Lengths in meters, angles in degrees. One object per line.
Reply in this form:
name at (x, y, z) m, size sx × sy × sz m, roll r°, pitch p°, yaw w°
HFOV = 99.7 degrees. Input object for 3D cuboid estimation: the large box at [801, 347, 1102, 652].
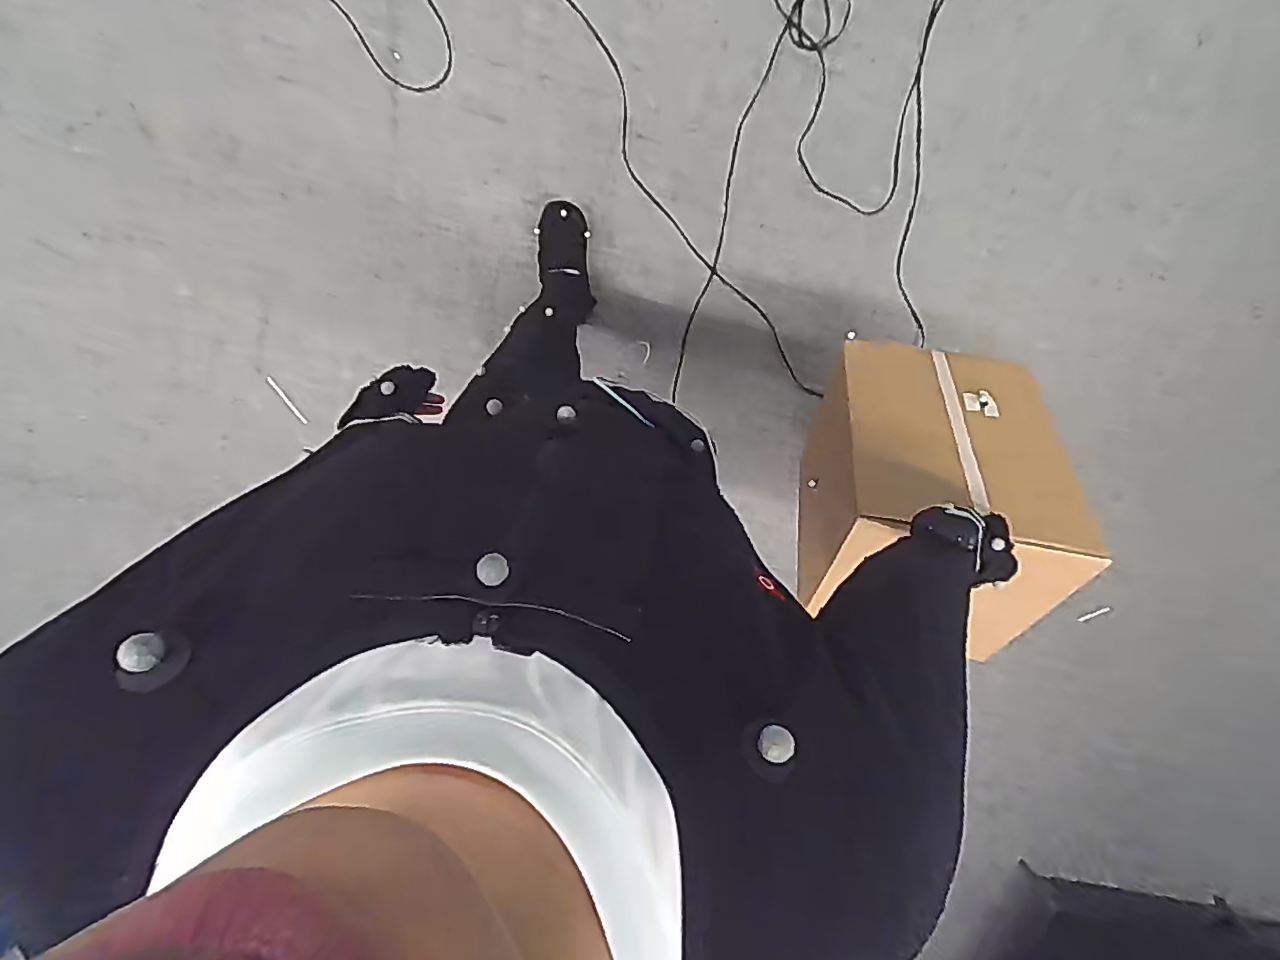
large box at (0.468, 0.028, 0.935) m, size 0.320 × 0.408 × 0.320 m, roll 11°, pitch 138°, yaw 6°
